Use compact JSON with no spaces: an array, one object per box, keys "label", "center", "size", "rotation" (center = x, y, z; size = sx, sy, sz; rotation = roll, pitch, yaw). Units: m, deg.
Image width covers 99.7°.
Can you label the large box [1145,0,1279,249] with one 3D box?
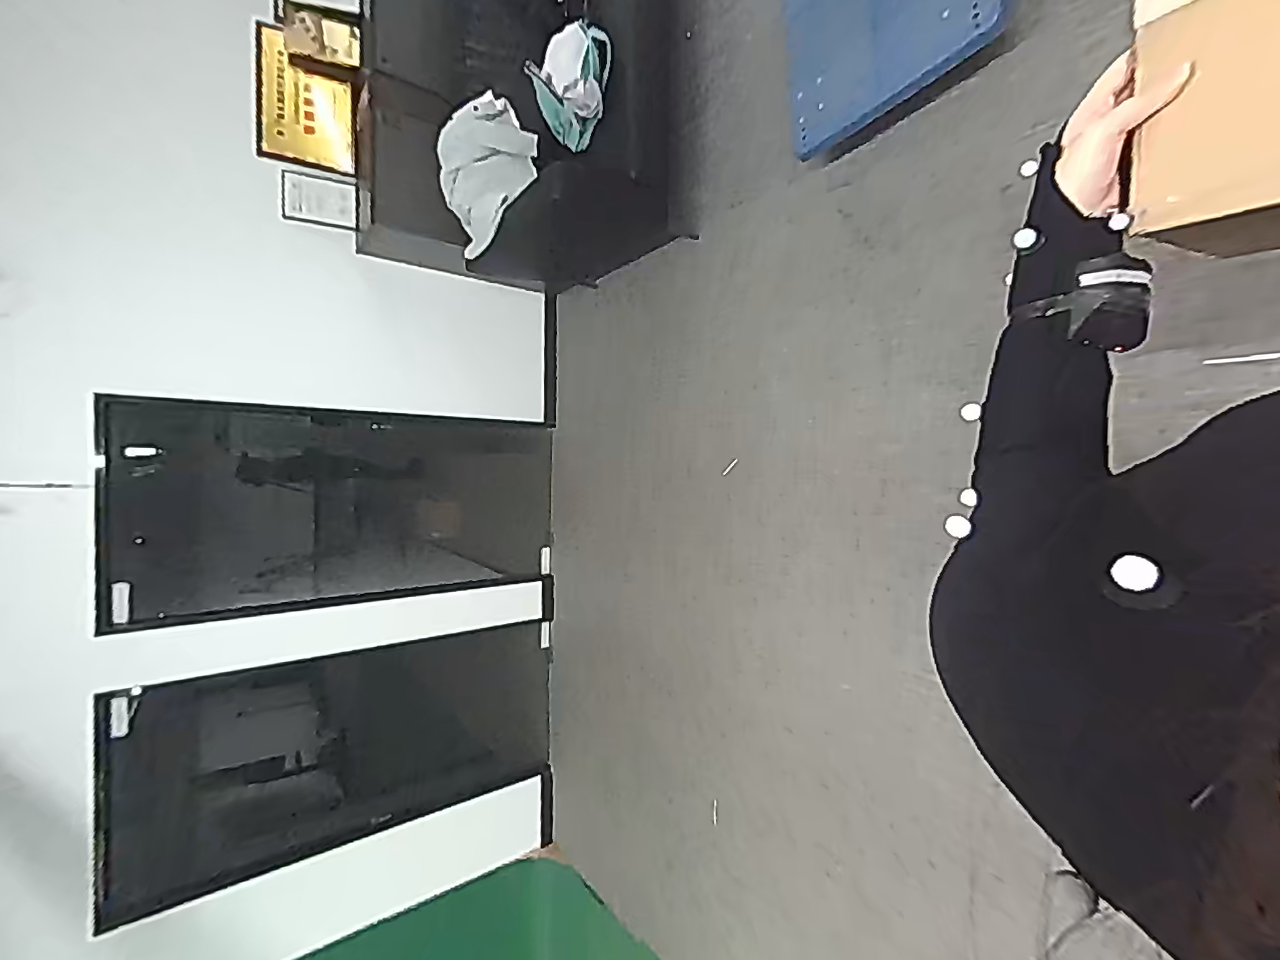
[{"label":"large box","center":[0.620,-0.360,0.323],"size":[0.408,0.320,0.320],"rotation":[7,104,57]}]
